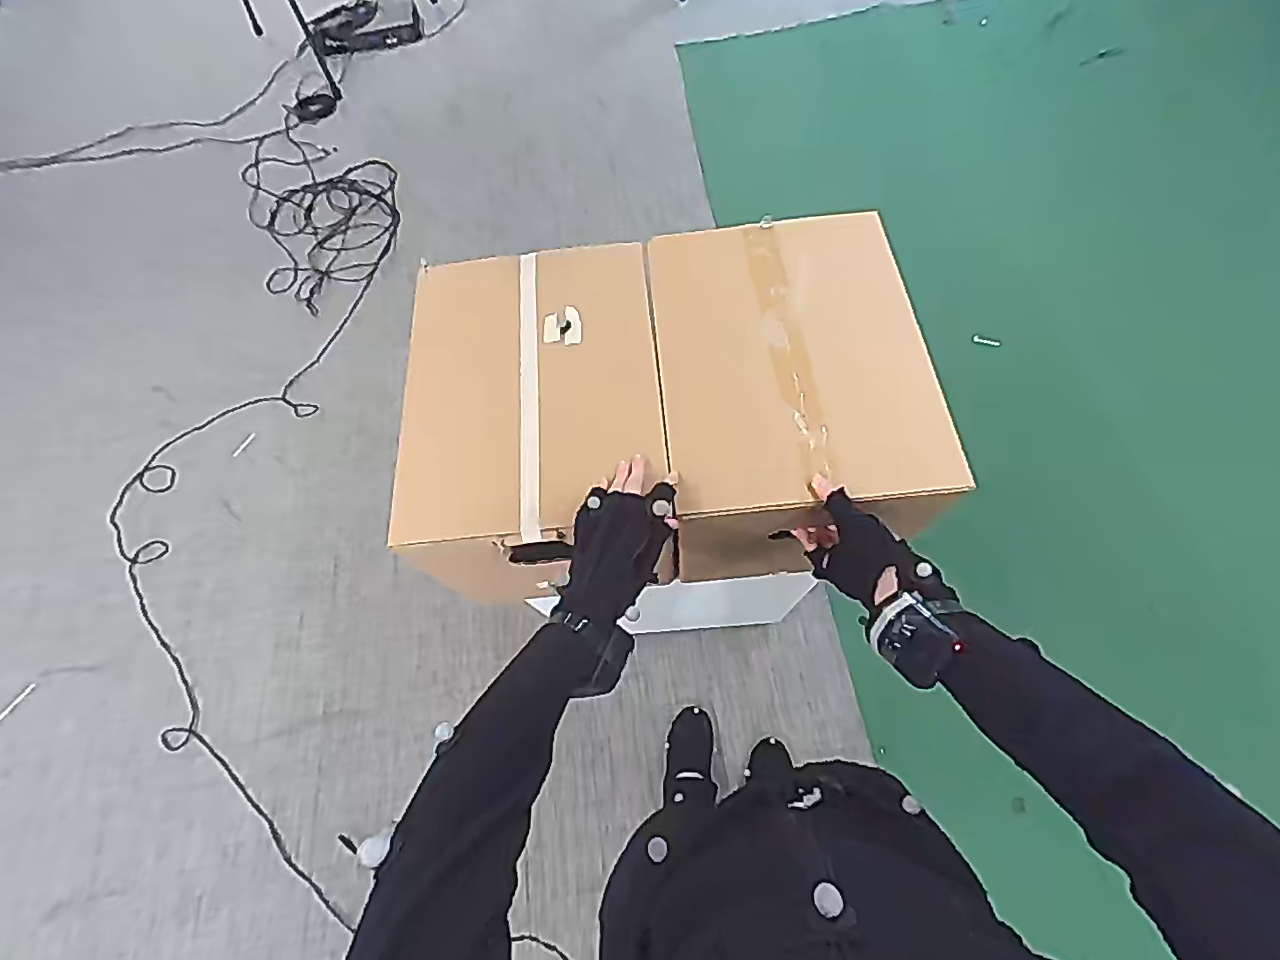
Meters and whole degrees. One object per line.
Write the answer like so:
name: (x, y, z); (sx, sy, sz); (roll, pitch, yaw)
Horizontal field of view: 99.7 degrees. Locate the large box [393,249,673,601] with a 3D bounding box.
large box: (-0.129, -0.063, 0.806); (0.320, 0.320, 0.408); (-6, 65, 1)
